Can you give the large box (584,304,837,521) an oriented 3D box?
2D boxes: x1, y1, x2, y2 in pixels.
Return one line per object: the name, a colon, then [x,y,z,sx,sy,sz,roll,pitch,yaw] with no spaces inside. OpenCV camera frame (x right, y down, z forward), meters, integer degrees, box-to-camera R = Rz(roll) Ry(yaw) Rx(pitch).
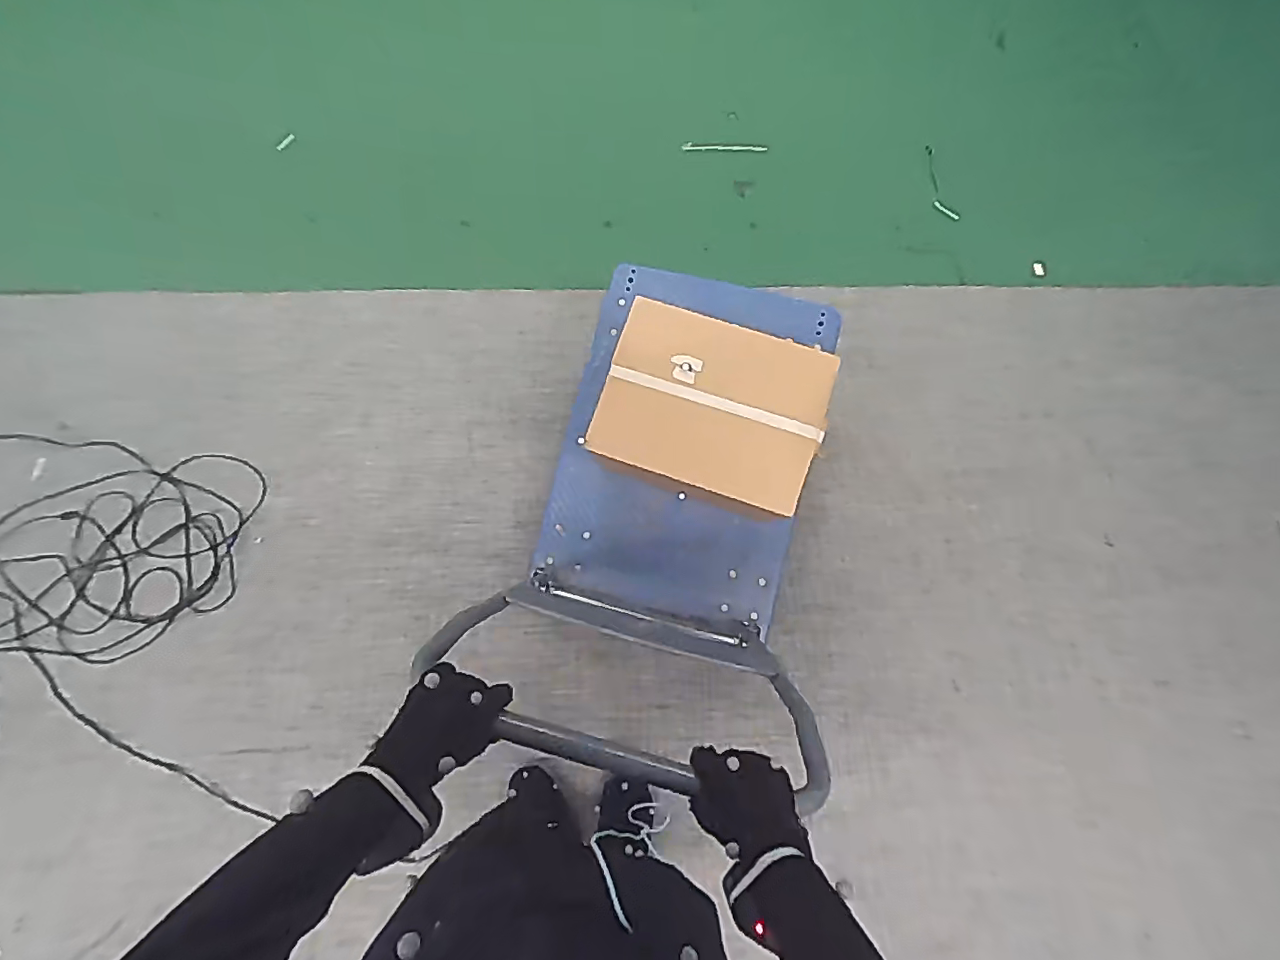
large box: [0.142,-0.118,1.144,0.408,0.320,0.320,19,85,6]
